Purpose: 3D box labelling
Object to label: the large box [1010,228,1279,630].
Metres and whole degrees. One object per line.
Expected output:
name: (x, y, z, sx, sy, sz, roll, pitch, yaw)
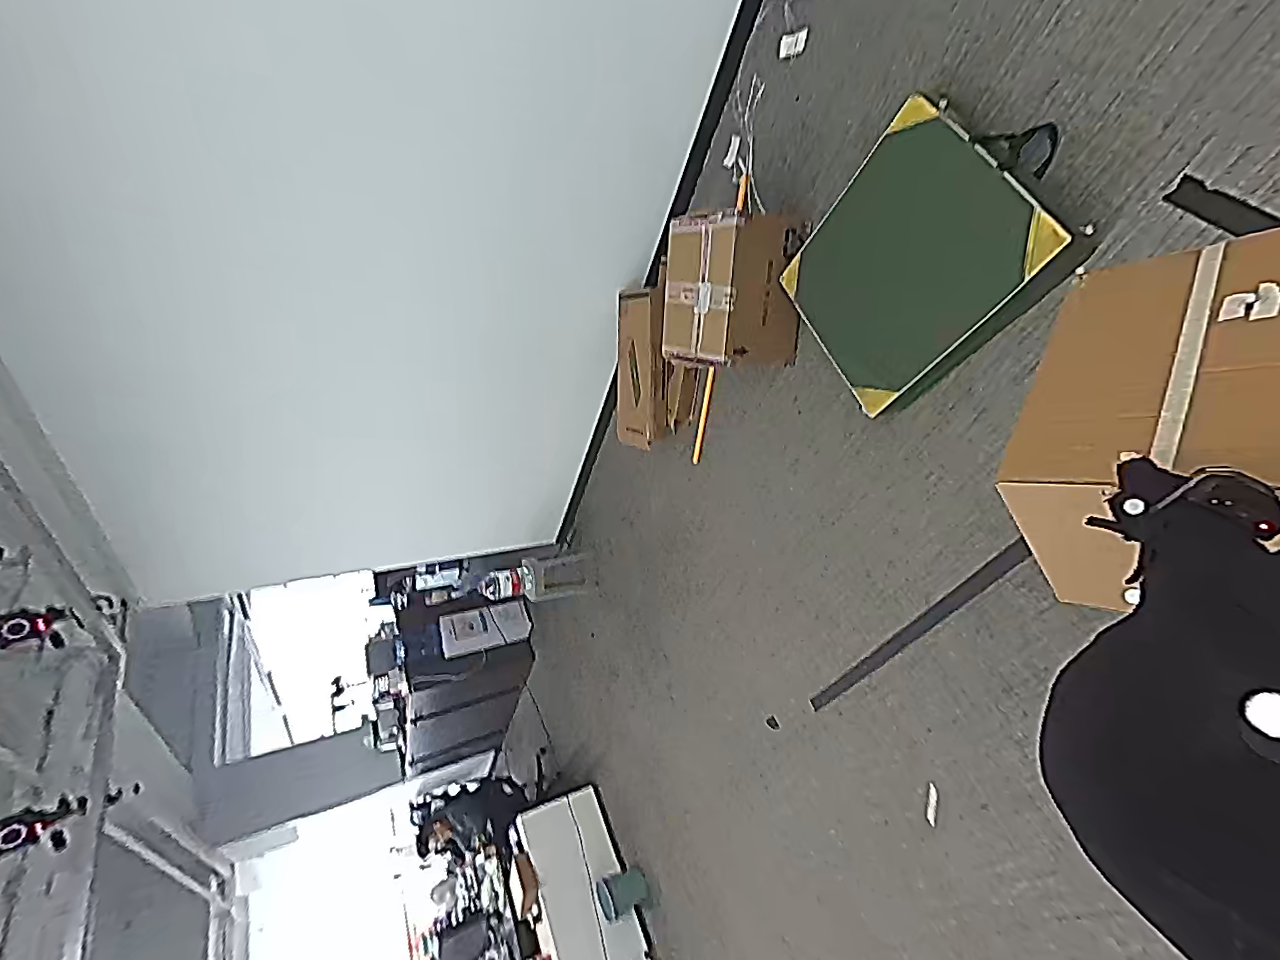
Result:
large box: (0.759, -0.062, 0.710, 0.320, 0.320, 0.408, 4, 55, 55)
